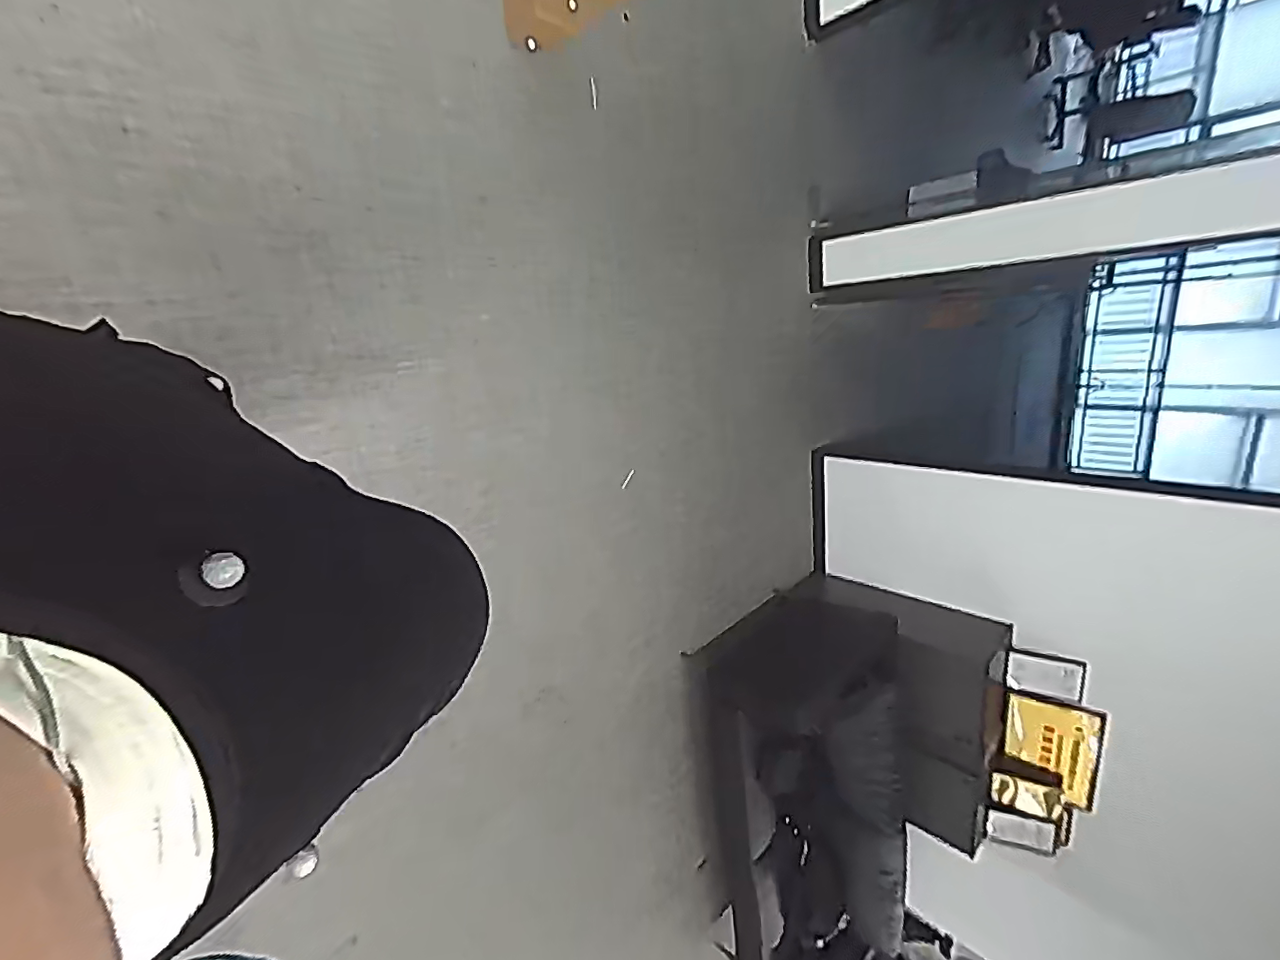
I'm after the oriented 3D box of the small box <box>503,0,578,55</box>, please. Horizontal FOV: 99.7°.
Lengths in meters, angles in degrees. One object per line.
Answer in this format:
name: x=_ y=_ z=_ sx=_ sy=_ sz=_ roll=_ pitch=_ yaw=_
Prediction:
small box: x=-0.308 y=-1.452 z=1.646 sx=0.168 sy=0.176 sz=0.179 roll=-14 pitch=108 yaw=-41
